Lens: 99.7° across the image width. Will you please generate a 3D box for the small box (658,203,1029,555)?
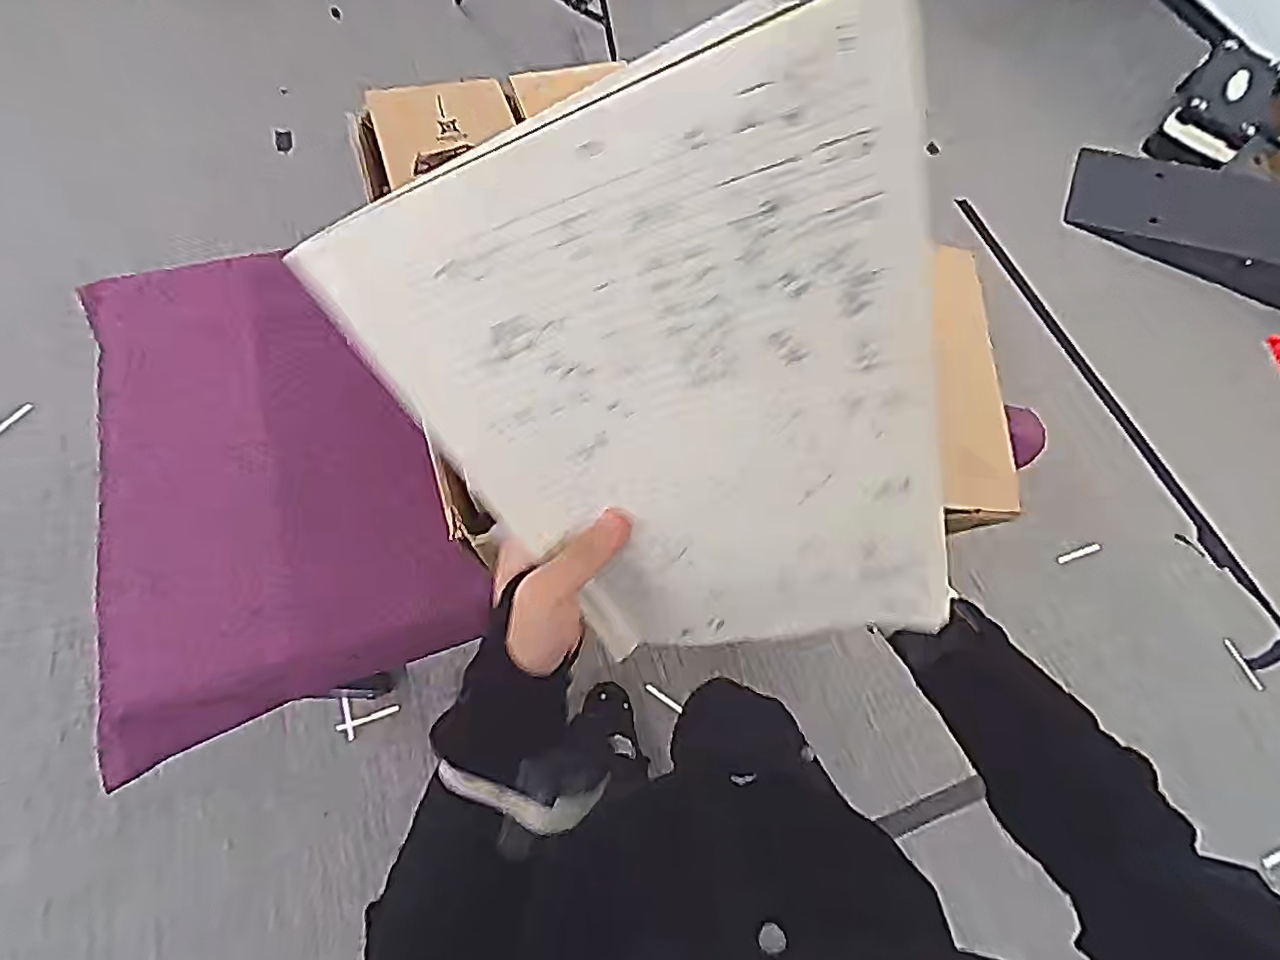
[{"bbox_3d":[0.113,-0.046,0.373,0.168,0.176,0.179,4,72,-14],"label":"small box"}]
